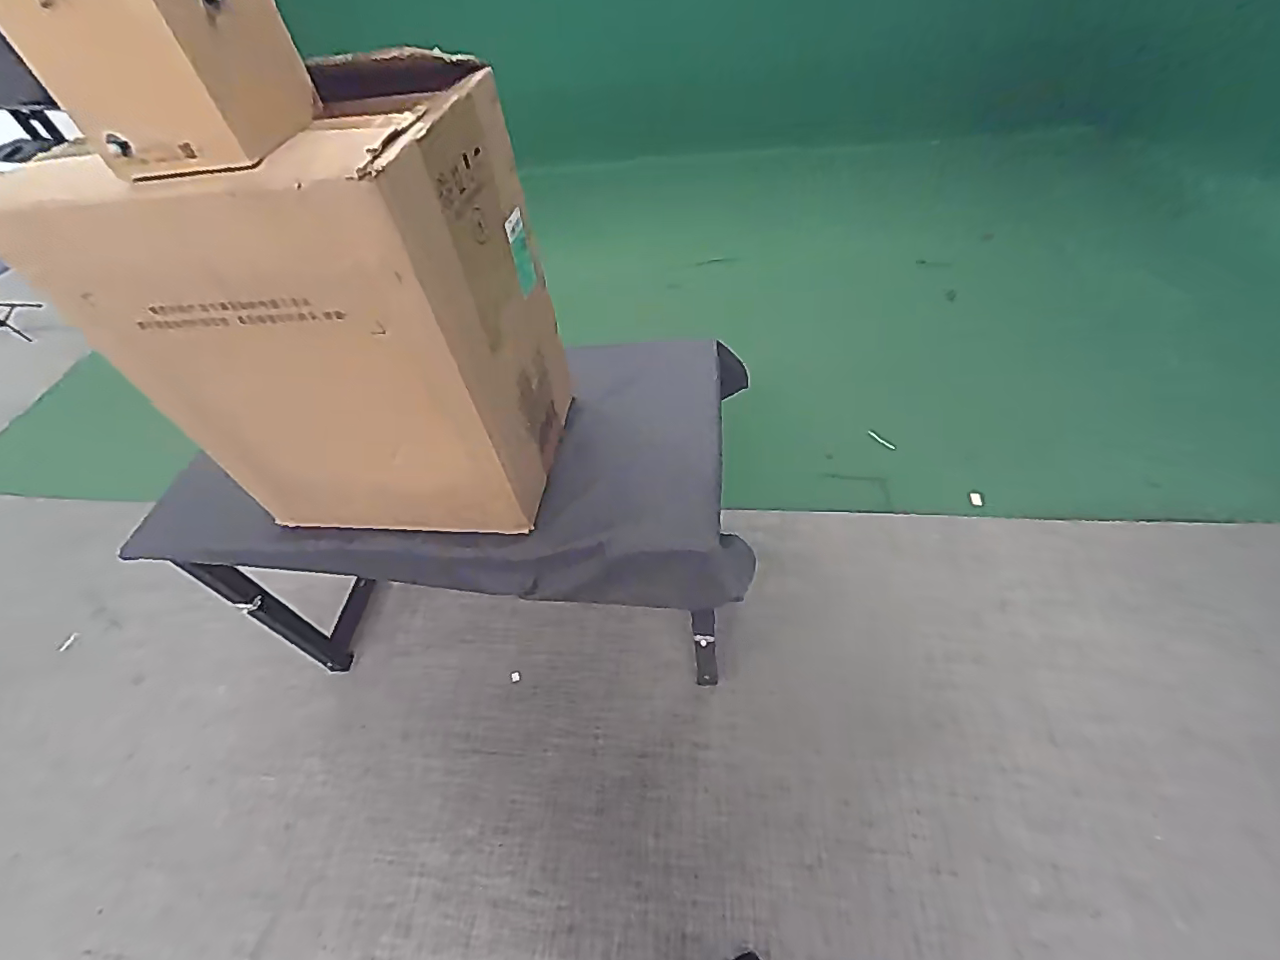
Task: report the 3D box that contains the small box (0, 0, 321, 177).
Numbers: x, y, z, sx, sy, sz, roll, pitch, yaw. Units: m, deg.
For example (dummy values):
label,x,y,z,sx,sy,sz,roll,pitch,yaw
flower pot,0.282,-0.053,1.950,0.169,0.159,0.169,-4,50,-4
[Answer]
label,x,y,z,sx,sy,sz,roll,pitch,yaw
small box,-0.483,-0.439,0.573,0.168,0.176,0.179,-1,50,8
